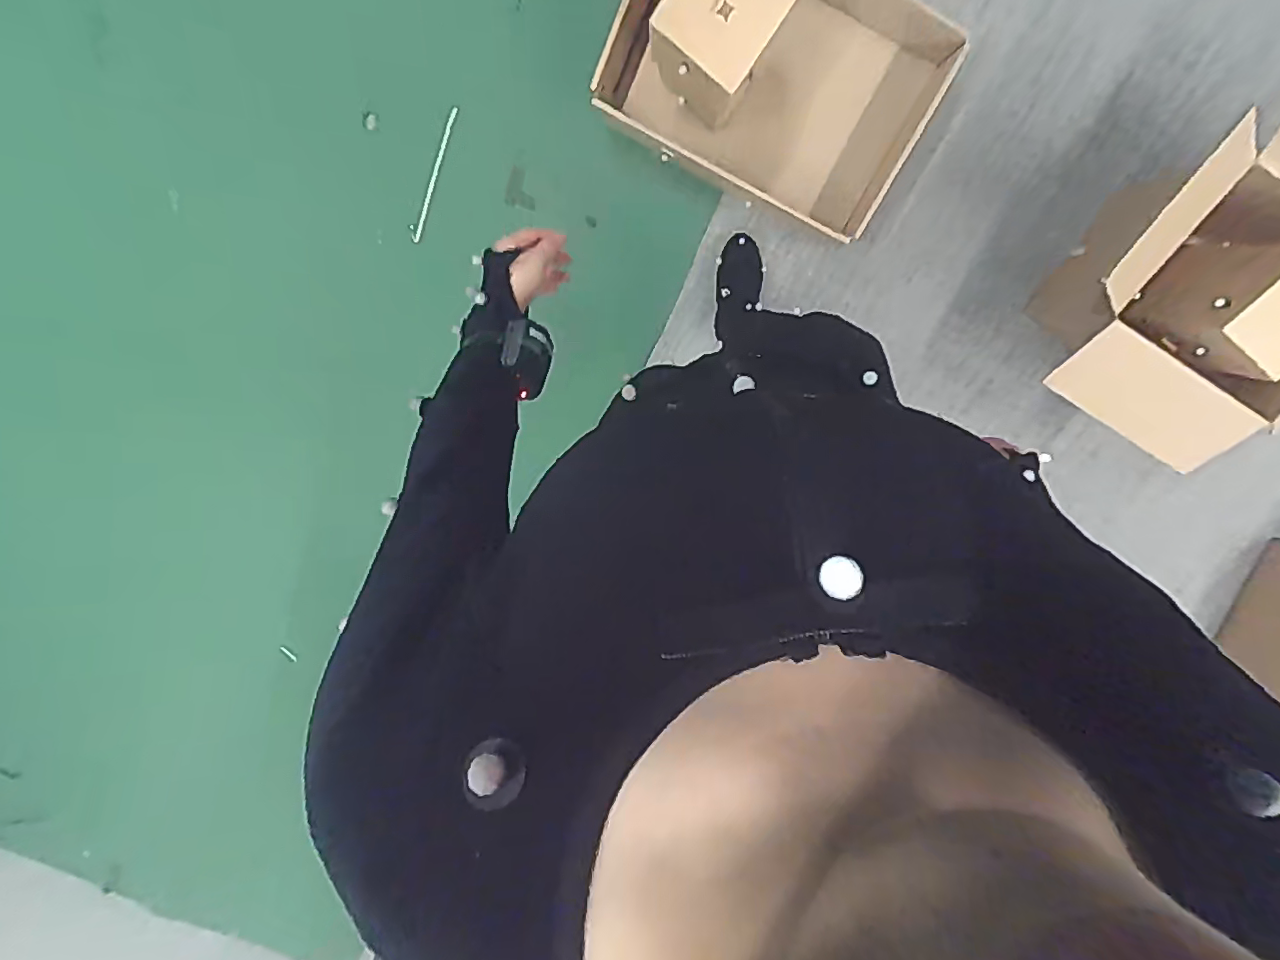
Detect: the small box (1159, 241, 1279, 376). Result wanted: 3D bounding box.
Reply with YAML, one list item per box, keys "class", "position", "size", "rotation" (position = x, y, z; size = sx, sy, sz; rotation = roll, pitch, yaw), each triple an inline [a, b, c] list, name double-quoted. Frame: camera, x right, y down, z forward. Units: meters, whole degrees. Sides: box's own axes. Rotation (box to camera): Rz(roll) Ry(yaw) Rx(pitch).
- class: "small box"
  position: [1.160, -0.328, 1.029]
  size: [0.168, 0.176, 0.179]
  rotation: [33, 109, -11]

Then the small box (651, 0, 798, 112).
- class: "small box"
  position: [0.138, -0.771, 0.924]
  size: [0.179, 0.176, 0.168]
  rotation: [35, 108, -9]

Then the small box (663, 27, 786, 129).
- class: "small box"
  position: [0.155, -0.845, 1.069]
  size: [0.168, 0.176, 0.179]
  rotation: [40, 108, -11]
